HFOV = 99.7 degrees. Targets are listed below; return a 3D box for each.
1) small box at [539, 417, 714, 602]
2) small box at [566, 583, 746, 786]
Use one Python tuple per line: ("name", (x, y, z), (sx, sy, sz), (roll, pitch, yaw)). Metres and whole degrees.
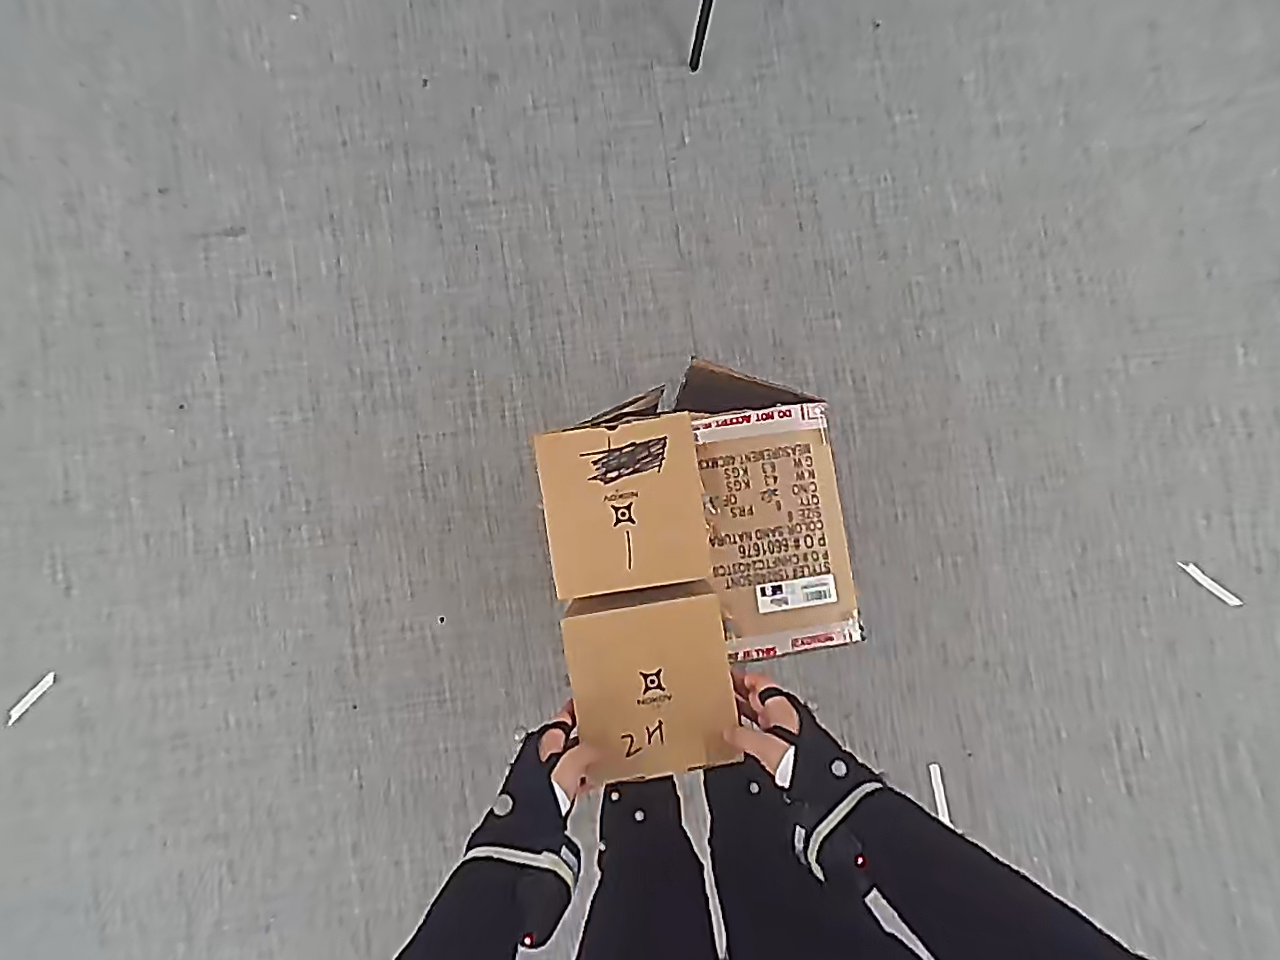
("small box", (-0.014, 0.032, 0.639), (0.168, 0.176, 0.179), (-8, 89, 1))
("small box", (0.014, 0.217, 0.633), (0.168, 0.176, 0.179), (-10, 89, 0))
